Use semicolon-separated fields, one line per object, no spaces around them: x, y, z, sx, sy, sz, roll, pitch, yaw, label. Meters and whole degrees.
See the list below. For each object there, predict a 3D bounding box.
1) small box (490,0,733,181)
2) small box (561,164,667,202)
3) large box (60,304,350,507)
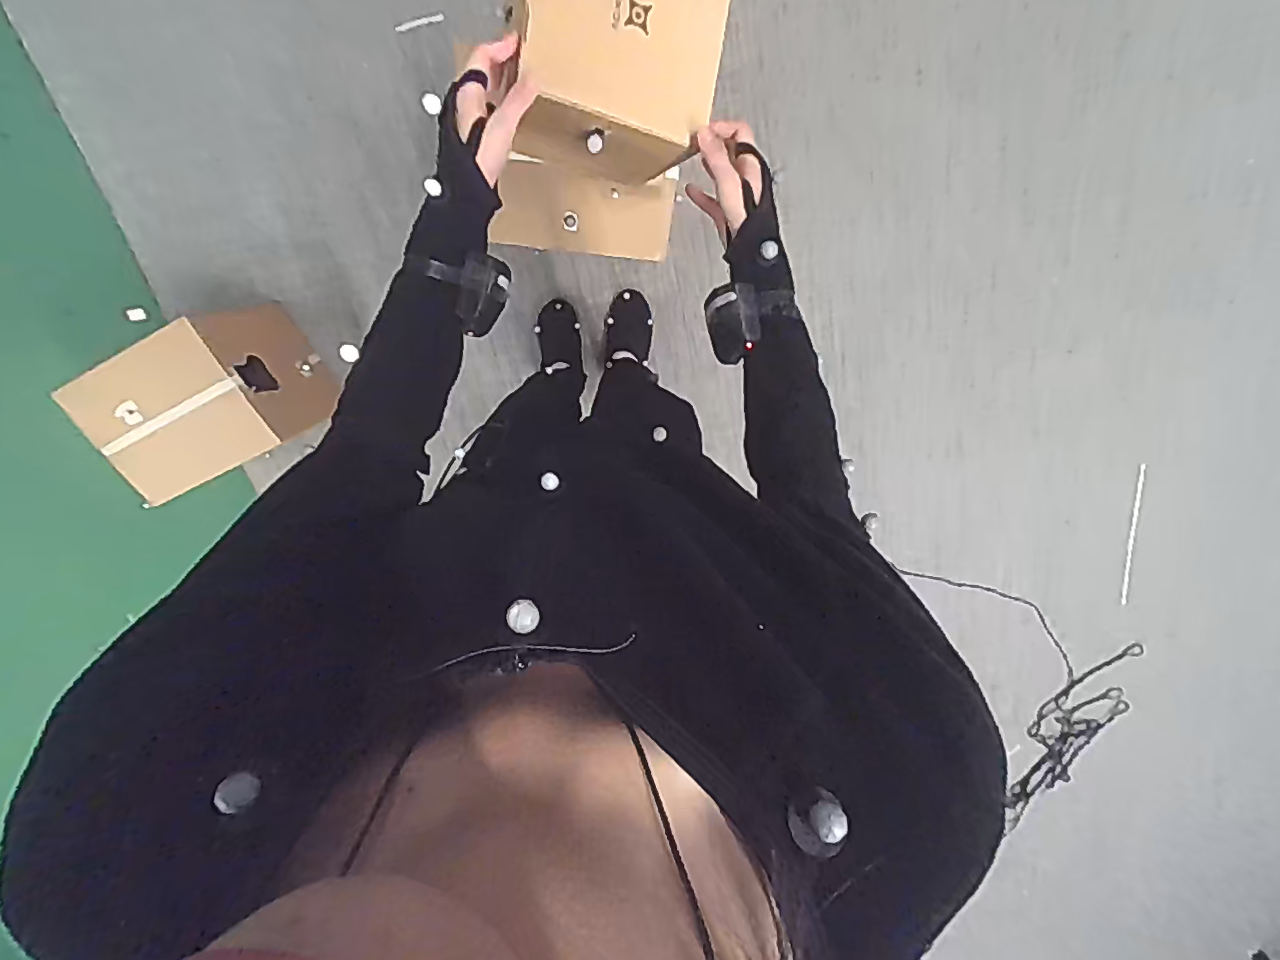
-0.035;-0.406;0.516;0.179;0.176;0.168;4;104;-24;small box
-0.030;-0.574;0.889;0.168;0.176;0.179;8;111;-1;small box
-1.037;-0.195;1.342;0.408;0.320;0.320;-22;110;12;large box
